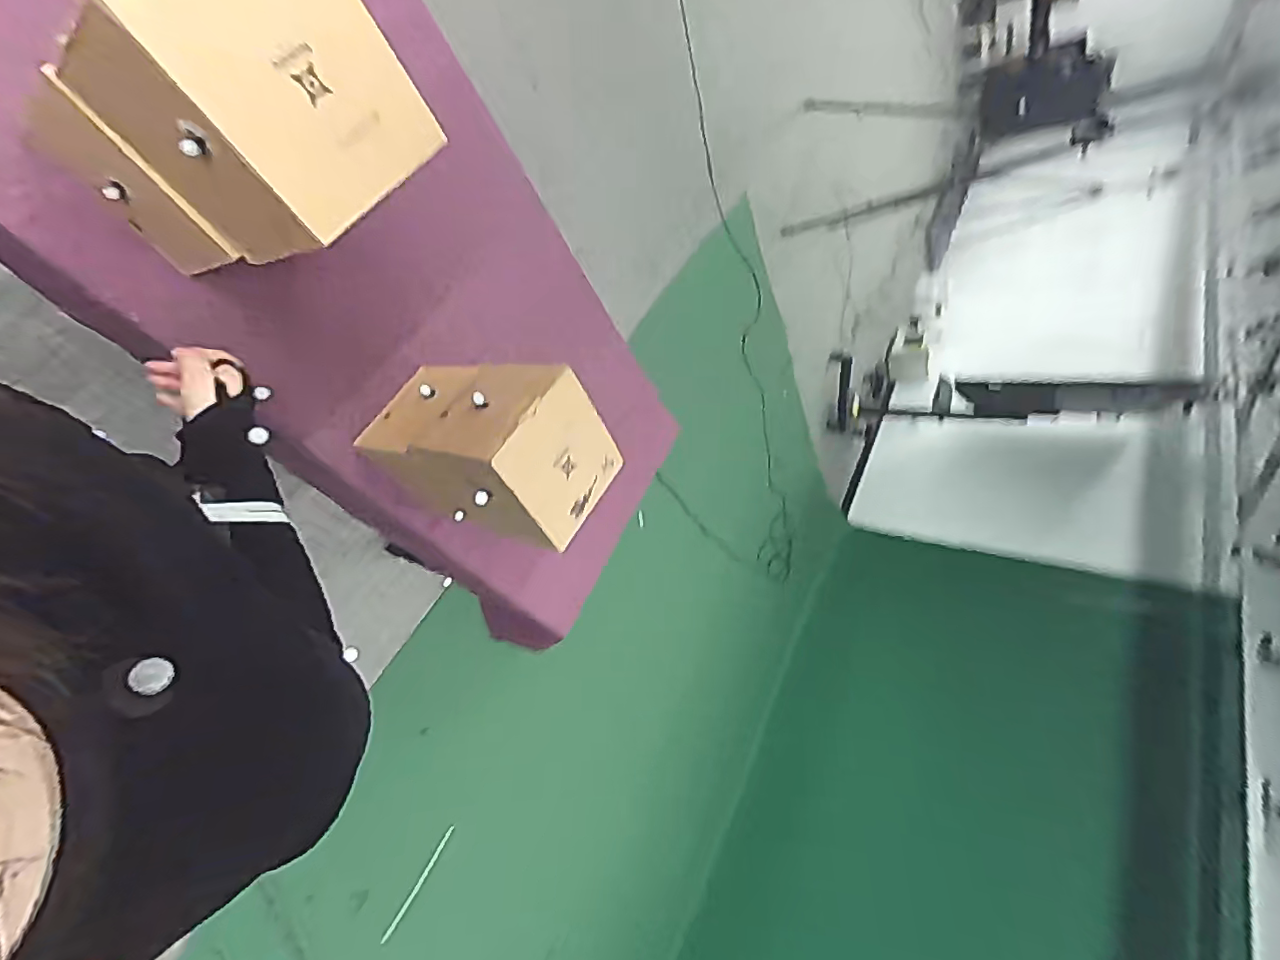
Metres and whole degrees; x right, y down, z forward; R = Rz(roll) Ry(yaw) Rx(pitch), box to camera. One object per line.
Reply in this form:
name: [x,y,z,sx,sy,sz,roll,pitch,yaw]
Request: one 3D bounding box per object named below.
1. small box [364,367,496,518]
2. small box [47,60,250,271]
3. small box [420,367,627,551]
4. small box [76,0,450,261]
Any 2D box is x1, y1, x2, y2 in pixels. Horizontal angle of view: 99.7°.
small box: [-0.278,-0.054,0.830,0.168,0.176,0.179,-60,139,-25]
small box: [-0.440,-0.336,0.553,0.179,0.176,0.168,-58,138,-26]
small box: [-0.153,-0.032,0.724,0.168,0.176,0.179,-56,136,-28]
small box: [-0.310,-0.311,0.458,0.168,0.176,0.179,-58,138,-24]
